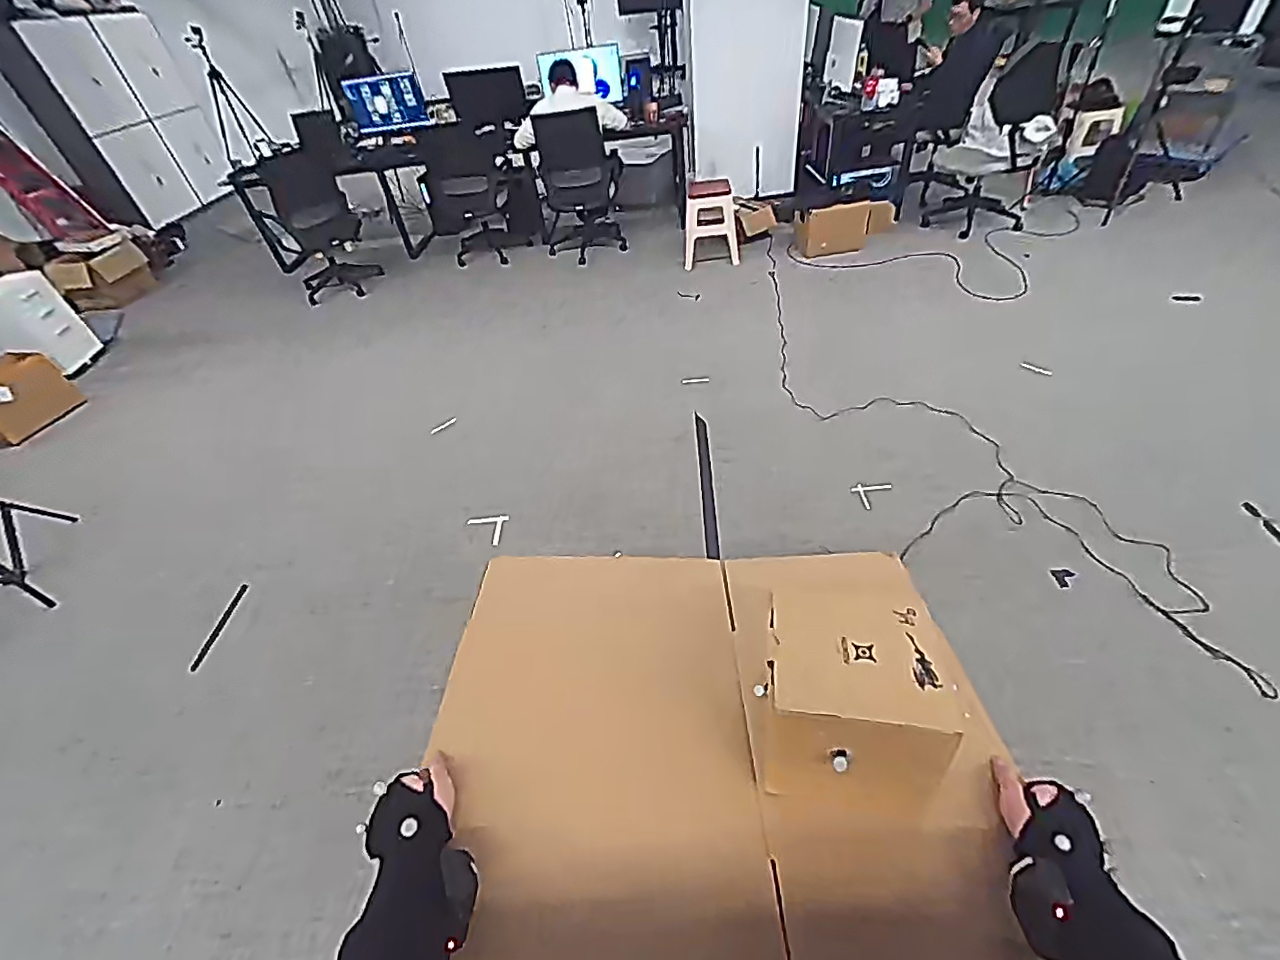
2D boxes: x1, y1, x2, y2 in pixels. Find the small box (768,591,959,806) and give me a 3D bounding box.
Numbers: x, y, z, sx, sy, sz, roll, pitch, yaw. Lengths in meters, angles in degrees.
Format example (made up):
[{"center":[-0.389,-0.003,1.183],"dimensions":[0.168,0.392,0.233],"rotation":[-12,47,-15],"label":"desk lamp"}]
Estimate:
[{"center":[0.241,0.252,0.633],"dimensions":[0.179,0.176,0.168],"rotation":[2,36,12],"label":"small box"}]
